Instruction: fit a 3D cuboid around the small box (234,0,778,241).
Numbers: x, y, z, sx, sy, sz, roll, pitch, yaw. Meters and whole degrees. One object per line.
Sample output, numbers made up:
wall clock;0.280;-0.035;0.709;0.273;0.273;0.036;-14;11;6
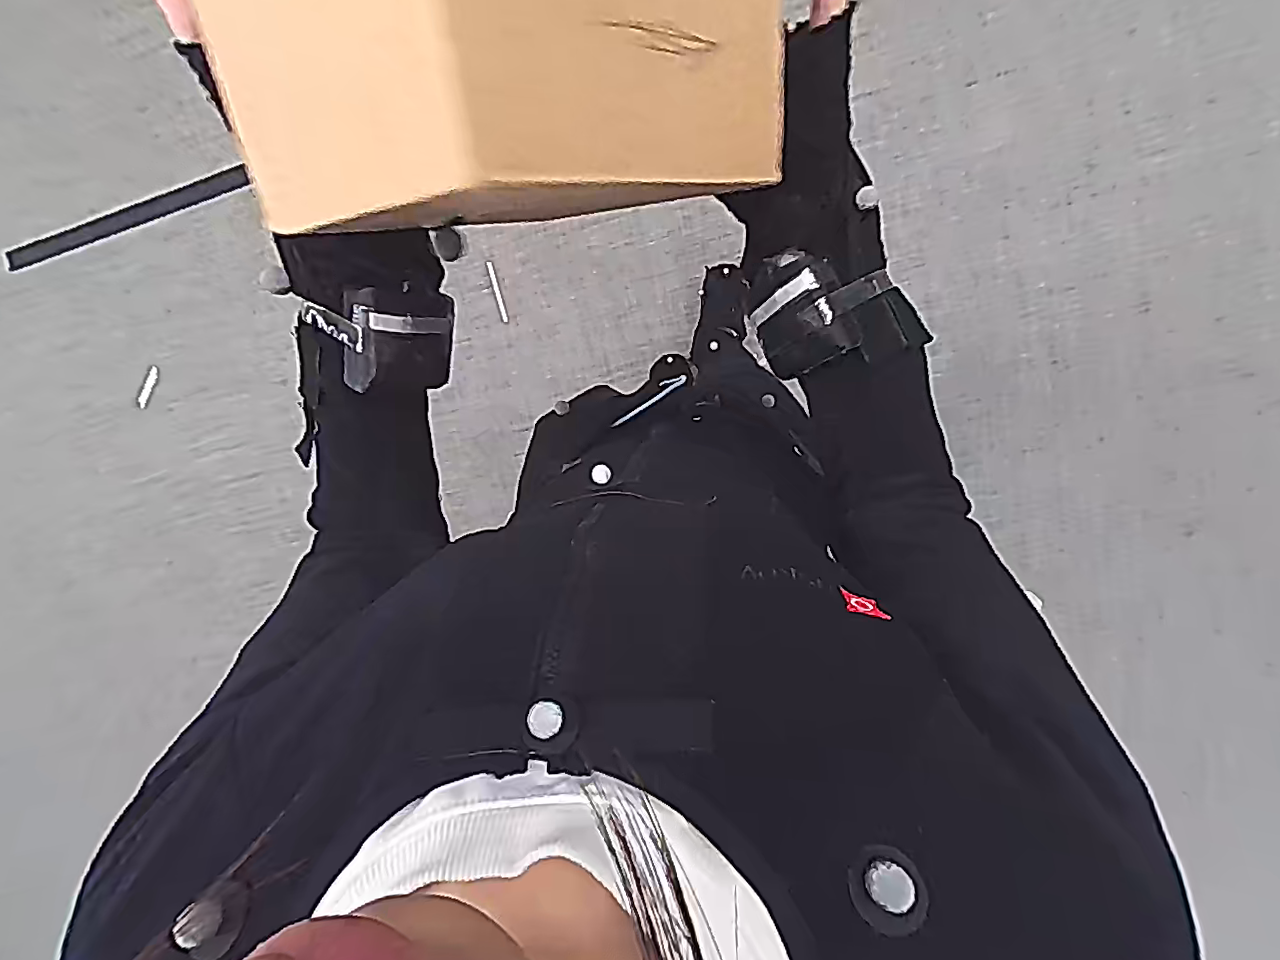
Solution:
small box;-0.056;-0.207;0.228;0.176;0.168;0.179;14;121;38
